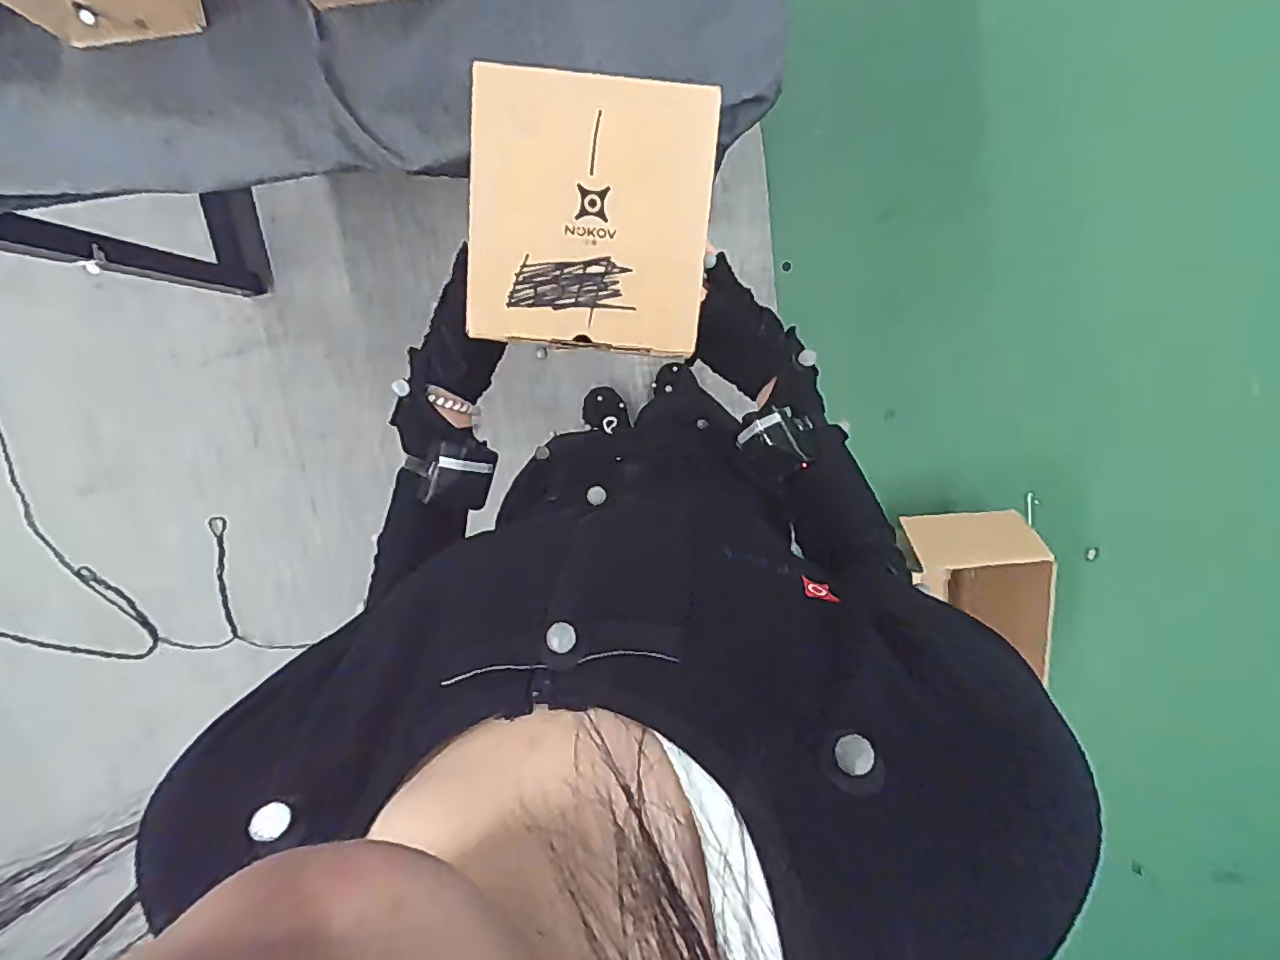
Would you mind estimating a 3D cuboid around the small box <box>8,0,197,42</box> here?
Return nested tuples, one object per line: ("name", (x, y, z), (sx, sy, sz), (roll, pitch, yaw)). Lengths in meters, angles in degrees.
("small box", (-0.606, -0.595, 0.546), (0.168, 0.176, 0.179), (-7, 102, 0))

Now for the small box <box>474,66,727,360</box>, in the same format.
("small box", (-0.032, -0.196, 0.452), (0.168, 0.176, 0.179), (5, 101, -3))

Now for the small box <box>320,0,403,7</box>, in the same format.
("small box", (-0.310, -0.632, 0.541), (0.168, 0.176, 0.179), (-6, 101, 1))
